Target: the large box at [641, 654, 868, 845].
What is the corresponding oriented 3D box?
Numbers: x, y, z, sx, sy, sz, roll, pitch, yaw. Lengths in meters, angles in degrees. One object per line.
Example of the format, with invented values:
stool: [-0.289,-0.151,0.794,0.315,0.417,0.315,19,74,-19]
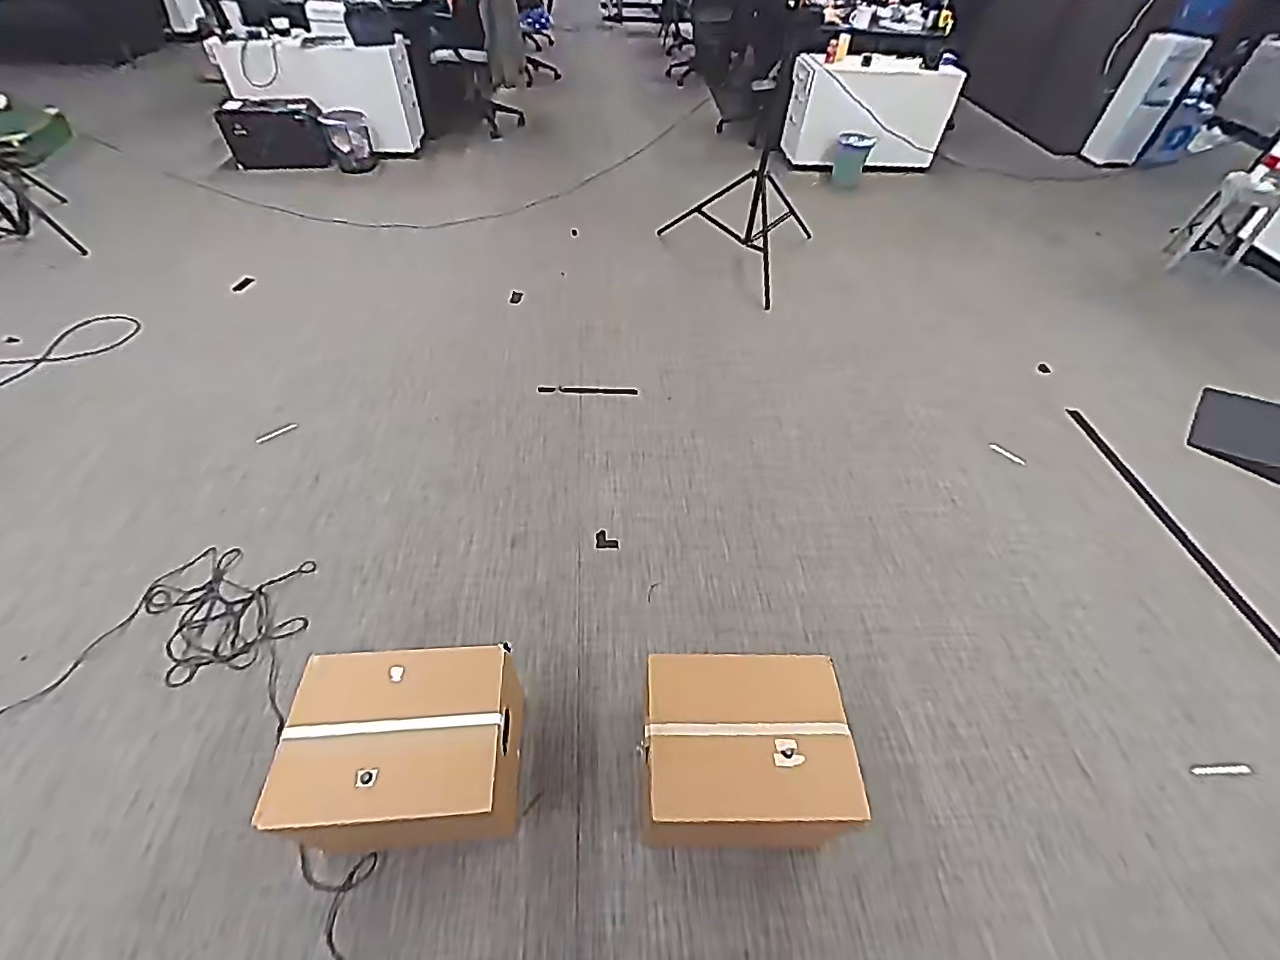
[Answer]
large box: [0.214,0.596,1.196,0.408,0.320,0.320,2,49,-3]
